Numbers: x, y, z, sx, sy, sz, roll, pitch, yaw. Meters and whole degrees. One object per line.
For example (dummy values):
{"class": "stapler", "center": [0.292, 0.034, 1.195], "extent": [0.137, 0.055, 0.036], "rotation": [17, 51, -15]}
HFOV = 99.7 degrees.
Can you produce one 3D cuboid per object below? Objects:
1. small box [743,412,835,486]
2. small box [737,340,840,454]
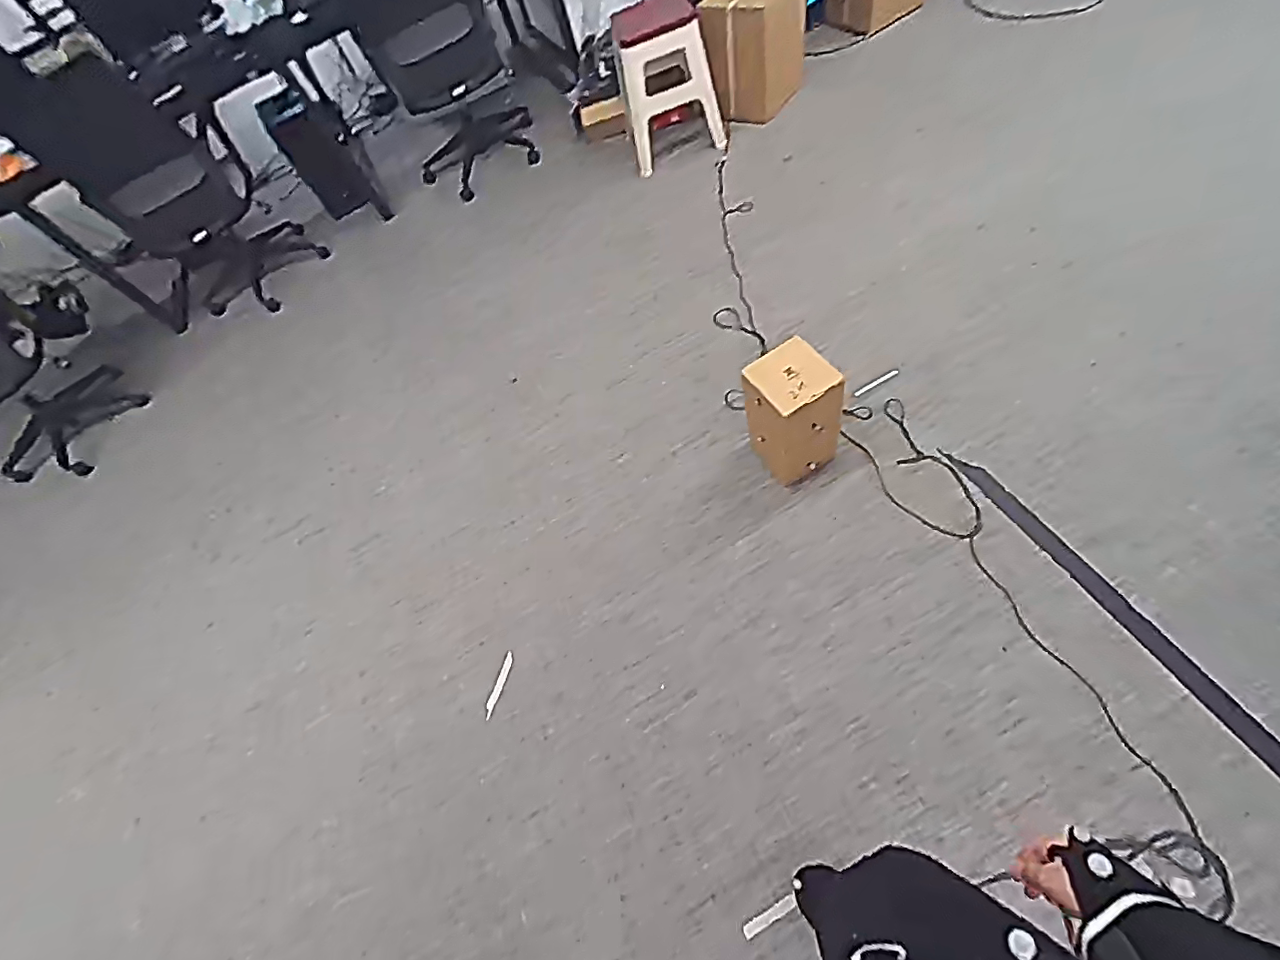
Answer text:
{"class": "small box", "center": [0.395, -0.115, 1.449], "extent": [0.168, 0.176, 0.179], "rotation": [-31, 58, -2]}
{"class": "small box", "center": [0.356, -0.196, 1.310], "extent": [0.168, 0.176, 0.179], "rotation": [-32, 58, -3]}
